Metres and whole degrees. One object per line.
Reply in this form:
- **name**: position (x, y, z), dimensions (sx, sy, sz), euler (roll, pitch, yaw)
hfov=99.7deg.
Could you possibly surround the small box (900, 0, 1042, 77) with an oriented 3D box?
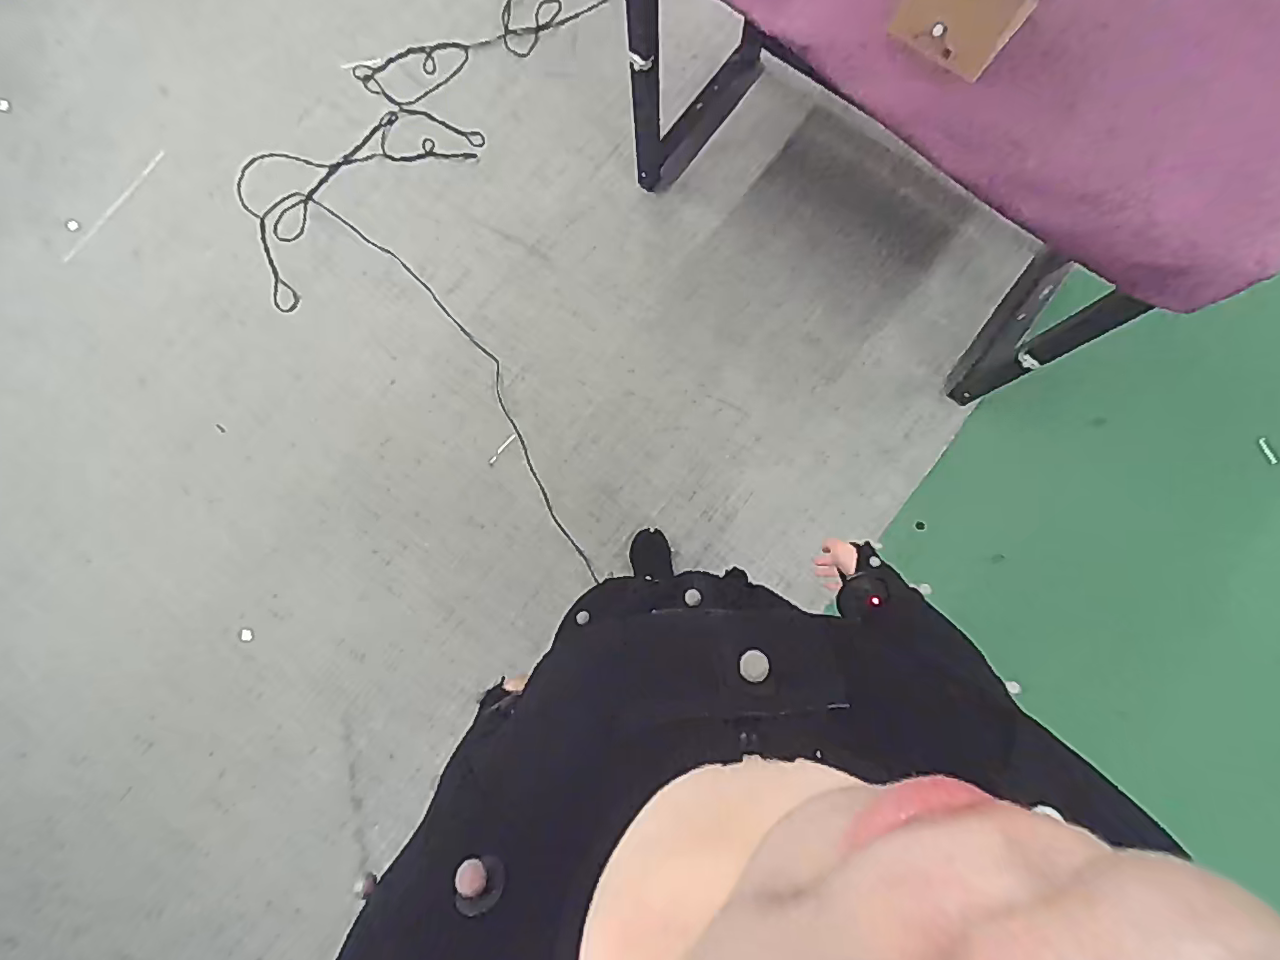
- **small box**: position (0.524, -0.761, 0.797), dimensions (0.168, 0.176, 0.179), euler (39, 86, 8)
